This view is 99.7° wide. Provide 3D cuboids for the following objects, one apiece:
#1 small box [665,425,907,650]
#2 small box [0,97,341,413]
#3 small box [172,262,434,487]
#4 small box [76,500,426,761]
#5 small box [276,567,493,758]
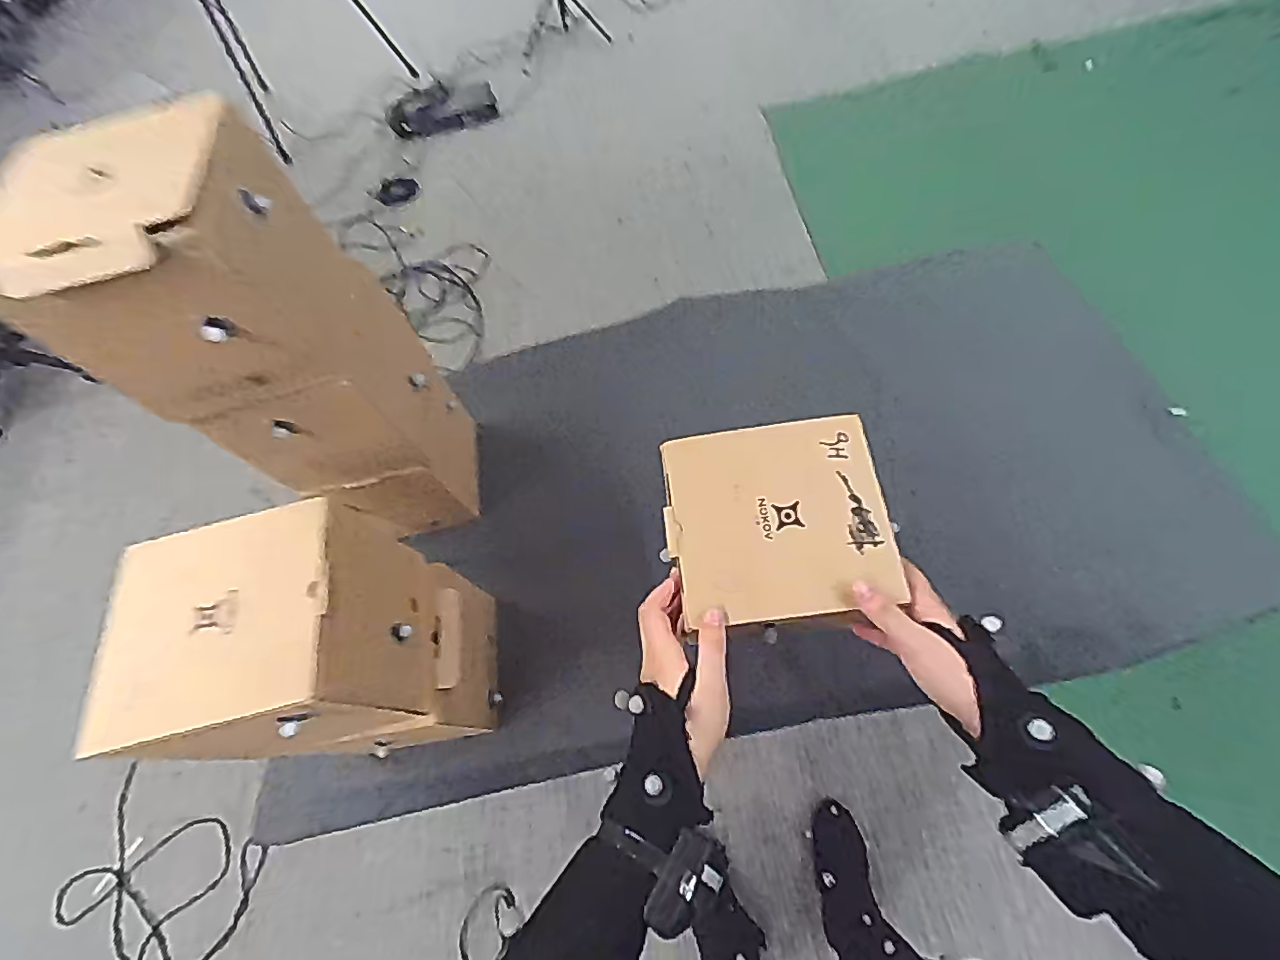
[{"bbox_3d":[0.125,0.067,0.525,0.179,0.176,0.168,-8,68,5],"label":"small box"},{"bbox_3d":[-0.384,-0.177,0.465,0.168,0.176,0.179,-15,62,-1],"label":"small box"},{"bbox_3d":[-0.356,-0.107,0.609,0.179,0.176,0.168,-12,64,2],"label":"small box"},{"bbox_3d":[-0.314,0.143,0.481,0.179,0.176,0.168,-15,62,0],"label":"small box"},{"bbox_3d":[-0.278,0.214,0.623,0.179,0.176,0.168,-11,63,3],"label":"small box"}]
